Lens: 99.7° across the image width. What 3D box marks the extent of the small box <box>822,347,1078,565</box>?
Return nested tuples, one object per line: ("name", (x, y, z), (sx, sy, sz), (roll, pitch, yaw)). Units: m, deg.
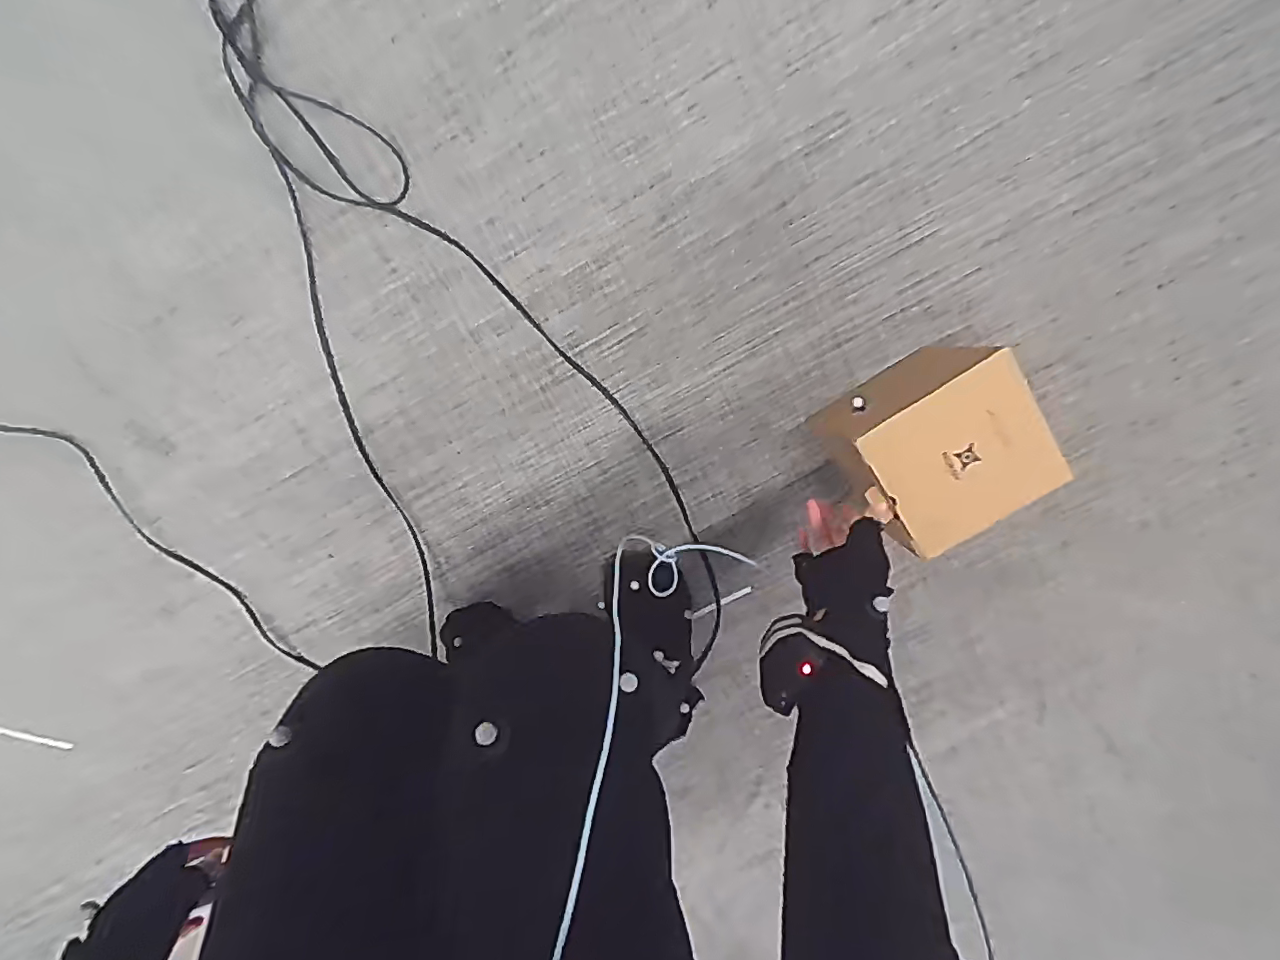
("small box", (0.335, -0.036, 0.628), (0.179, 0.176, 0.168), (-33, 102, 7))
